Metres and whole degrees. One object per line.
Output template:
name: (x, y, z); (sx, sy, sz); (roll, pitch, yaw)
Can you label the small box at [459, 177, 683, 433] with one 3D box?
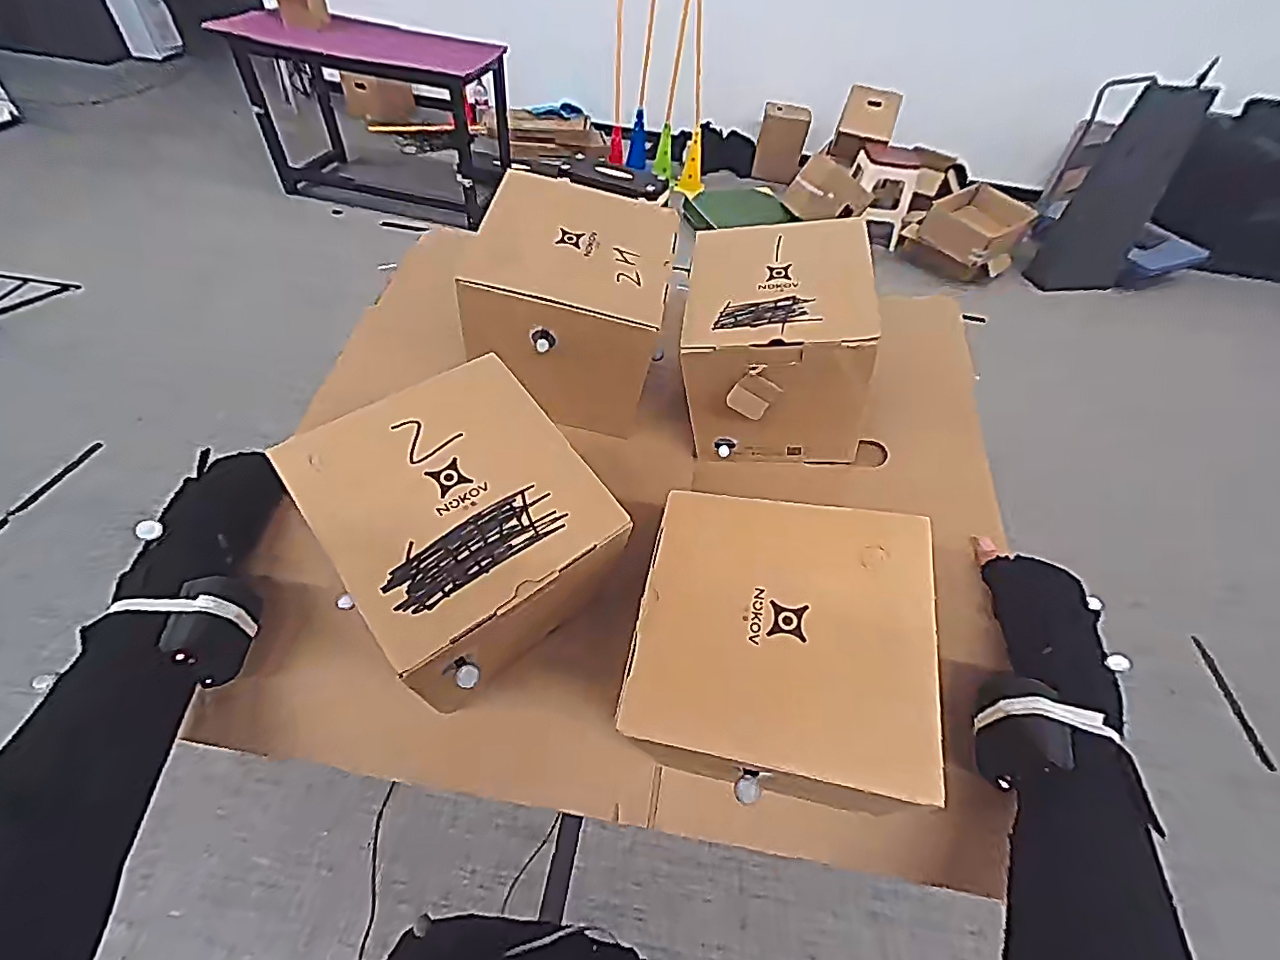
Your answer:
small box: (-0.068, -0.170, 0.560); (0.179, 0.176, 0.168); (13, 59, -5)
